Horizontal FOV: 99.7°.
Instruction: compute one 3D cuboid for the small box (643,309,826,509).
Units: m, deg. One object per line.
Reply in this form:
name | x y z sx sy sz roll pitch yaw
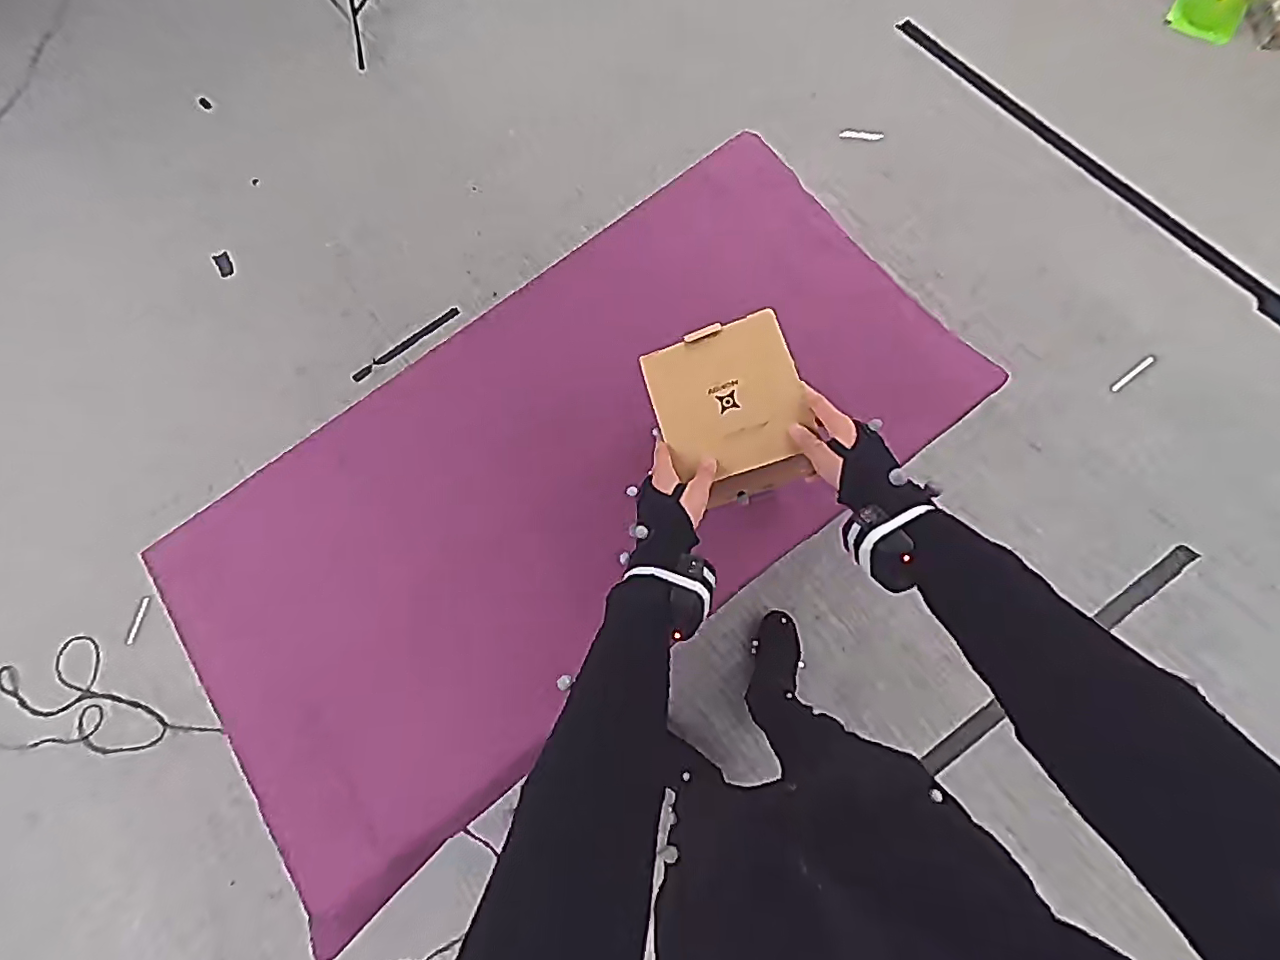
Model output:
small box | 0.117 -0.076 0.681 0.168 0.176 0.179 -18 76 9
